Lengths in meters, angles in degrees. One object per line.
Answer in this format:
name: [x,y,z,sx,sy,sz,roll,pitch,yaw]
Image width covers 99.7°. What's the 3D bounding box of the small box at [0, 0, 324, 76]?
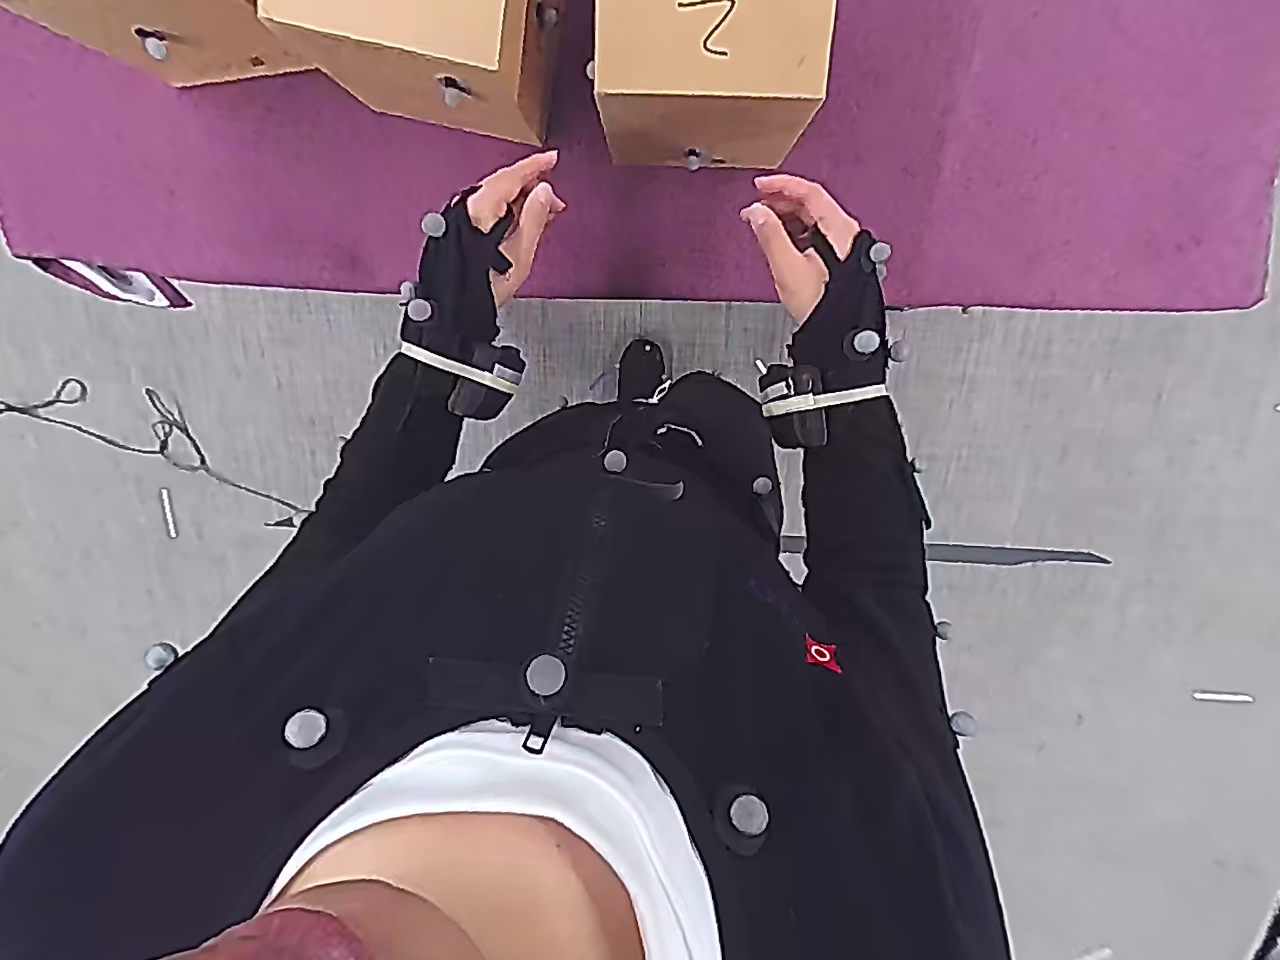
small box: [-0.393,-0.459,0.434,0.168,0.176,0.179,-6,106,4]
